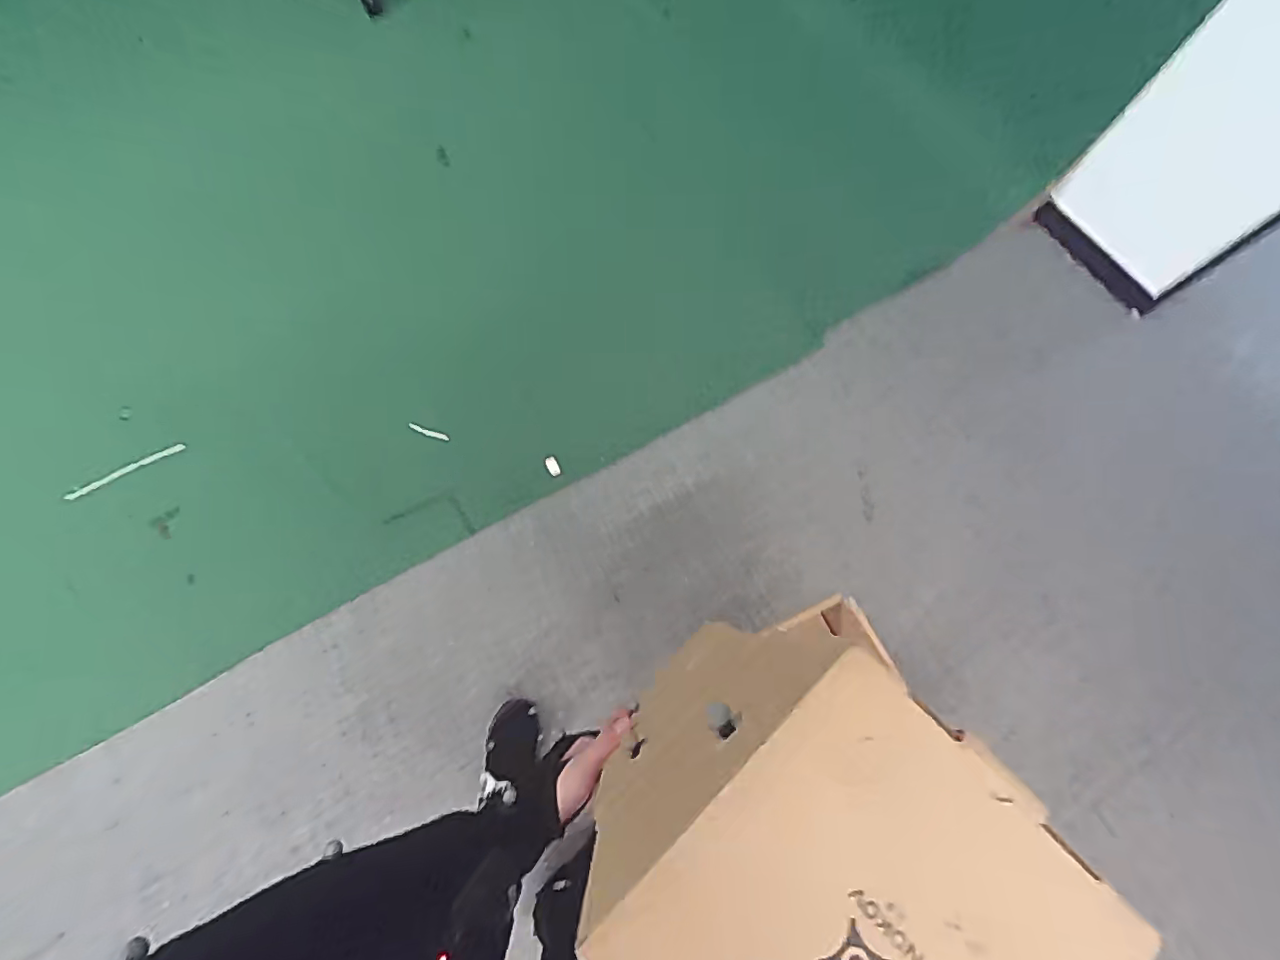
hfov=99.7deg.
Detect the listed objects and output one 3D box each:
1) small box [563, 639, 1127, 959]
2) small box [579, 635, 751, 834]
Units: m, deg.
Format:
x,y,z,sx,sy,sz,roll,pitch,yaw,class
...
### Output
x,y,z,sx,sy,sz,roll,pitch,yaw,class
0.081,0.204,0.295,0.179,0.176,0.168,-44,80,-10,small box
0.074,0.250,0.452,0.179,0.176,0.168,-43,80,-10,small box
